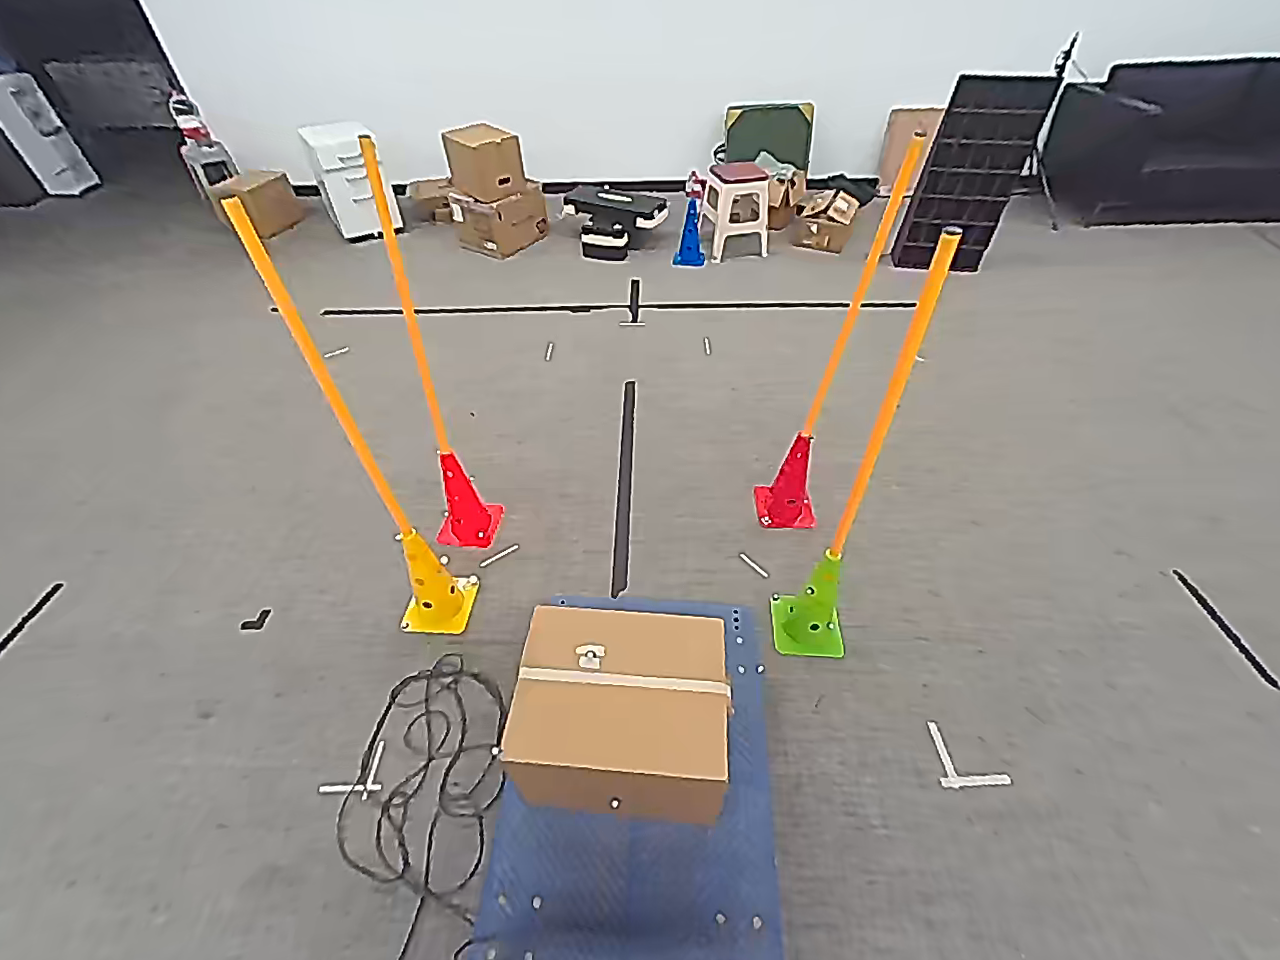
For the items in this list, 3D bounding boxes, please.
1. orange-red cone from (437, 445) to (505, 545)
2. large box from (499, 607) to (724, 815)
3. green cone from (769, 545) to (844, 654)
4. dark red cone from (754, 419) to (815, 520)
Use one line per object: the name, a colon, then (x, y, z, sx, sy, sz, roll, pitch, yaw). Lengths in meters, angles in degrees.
orange-red cone: (-0.603, 0.025, 1.821, 0.198, 0.360, 0.199, 6, 45, 5)
large box: (-0.036, 0.494, 1.152, 0.408, 0.320, 0.320, 3, 46, 5)
green cone: (0.502, 0.313, 1.528, 0.202, 0.368, 0.200, 4, 46, 2)
dark red cone: (0.528, -0.045, 1.856, 0.201, 0.394, 0.202, 2, 46, -1)
